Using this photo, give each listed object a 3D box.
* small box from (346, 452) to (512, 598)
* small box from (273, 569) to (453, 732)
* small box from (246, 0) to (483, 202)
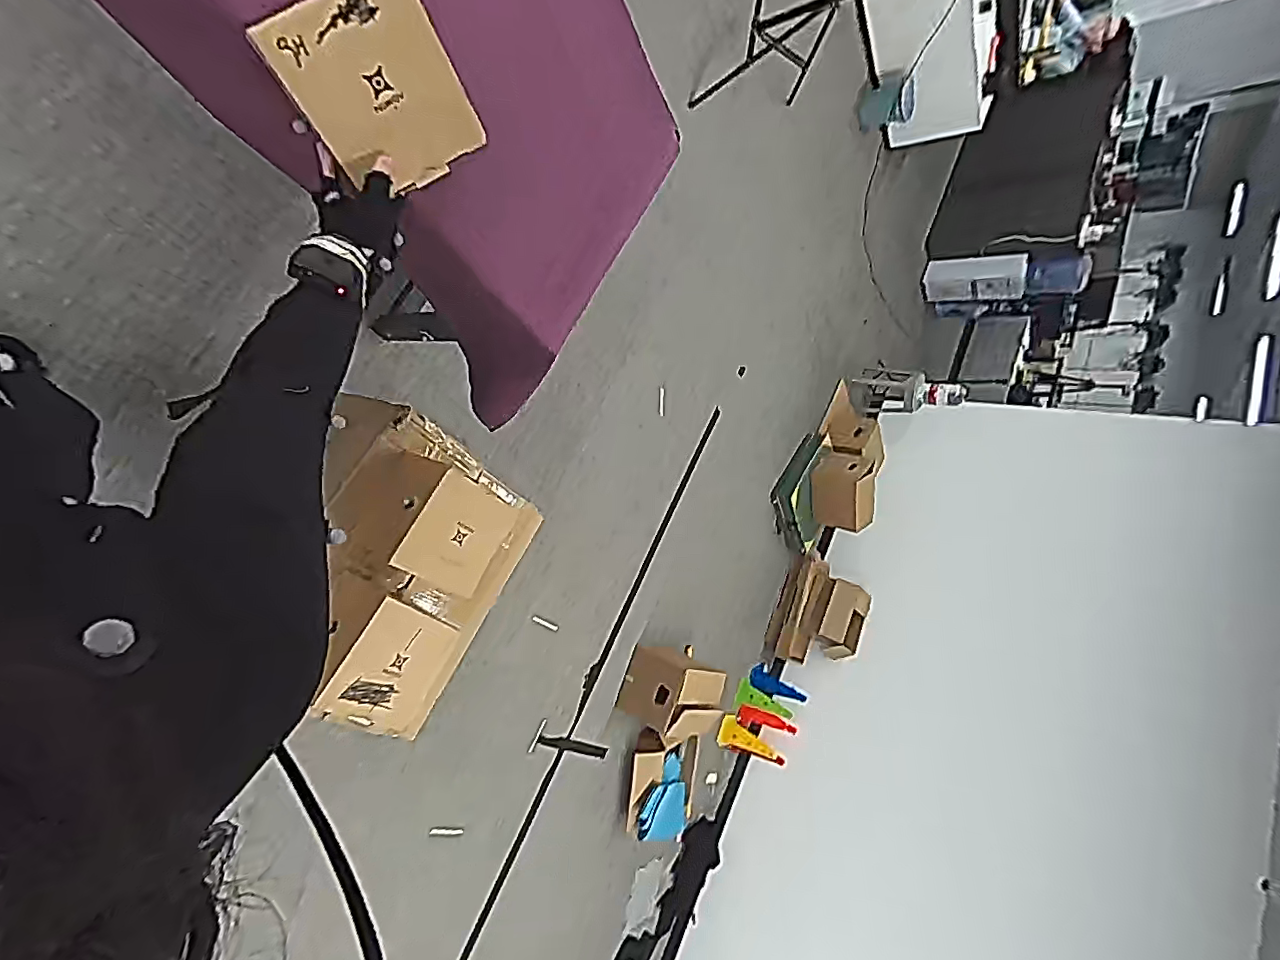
[{"bbox_3d":[-0.361,0.071,0.923,0.168,0.176,0.179,45,67,-45],"label":"small box"},{"bbox_3d":[-0.448,0.269,0.870,0.168,0.176,0.179,50,60,-44],"label":"small box"},{"bbox_3d":[-0.320,-0.464,0.635,0.168,0.176,0.179,-37,136,-10],"label":"small box"}]
